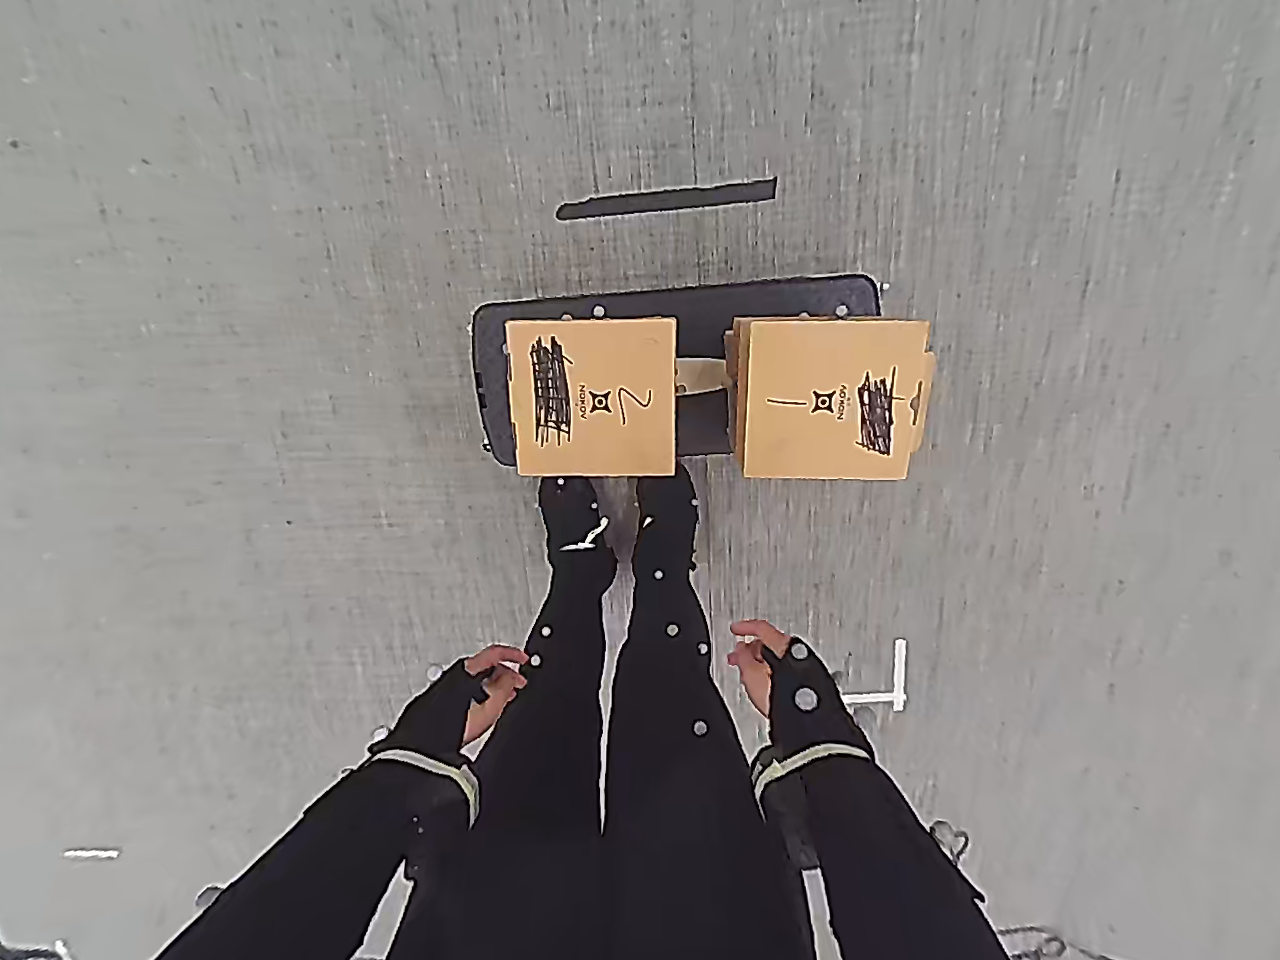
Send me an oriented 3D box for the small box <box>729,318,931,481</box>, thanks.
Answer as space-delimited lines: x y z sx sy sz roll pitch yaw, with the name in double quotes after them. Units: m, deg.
0.203 -0.102 0.632 0.179 0.176 0.168 1 107 4 "small box"
